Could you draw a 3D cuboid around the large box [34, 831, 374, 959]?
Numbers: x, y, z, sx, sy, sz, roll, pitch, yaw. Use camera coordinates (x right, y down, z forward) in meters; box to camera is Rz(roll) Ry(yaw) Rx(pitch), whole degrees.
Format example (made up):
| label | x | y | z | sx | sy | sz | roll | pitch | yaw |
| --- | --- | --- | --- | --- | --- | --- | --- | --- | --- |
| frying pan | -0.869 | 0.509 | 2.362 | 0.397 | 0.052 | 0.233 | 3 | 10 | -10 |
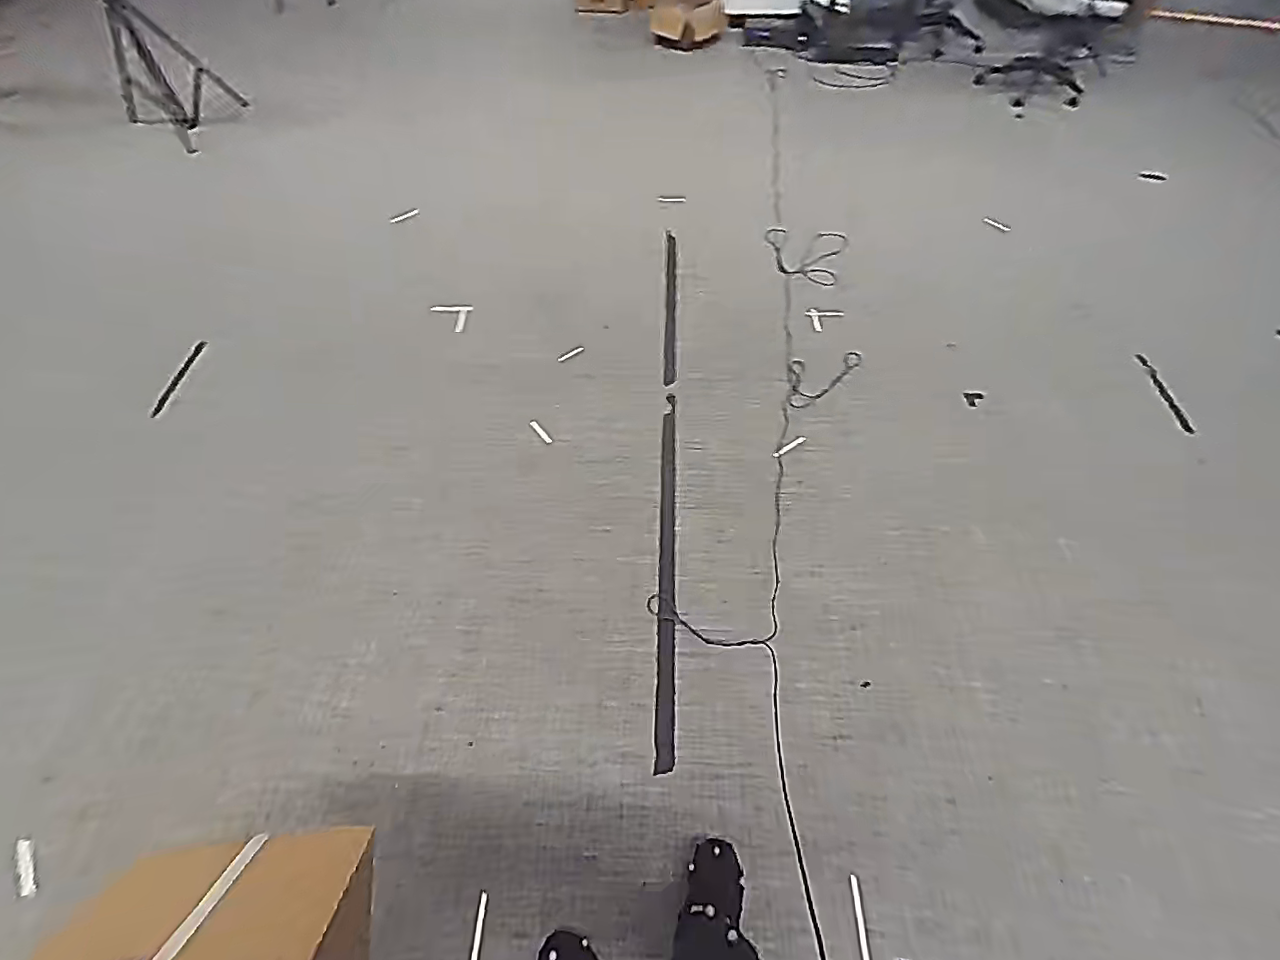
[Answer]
| label | x | y | z | sx | sy | sz | roll | pitch | yaw |
| --- | --- | --- | --- | --- | --- | --- | --- | --- | --- |
| large box | -0.541 | 0.695 | 0.638 | 0.320 | 0.408 | 0.320 | 3 | 87 | -11 |
